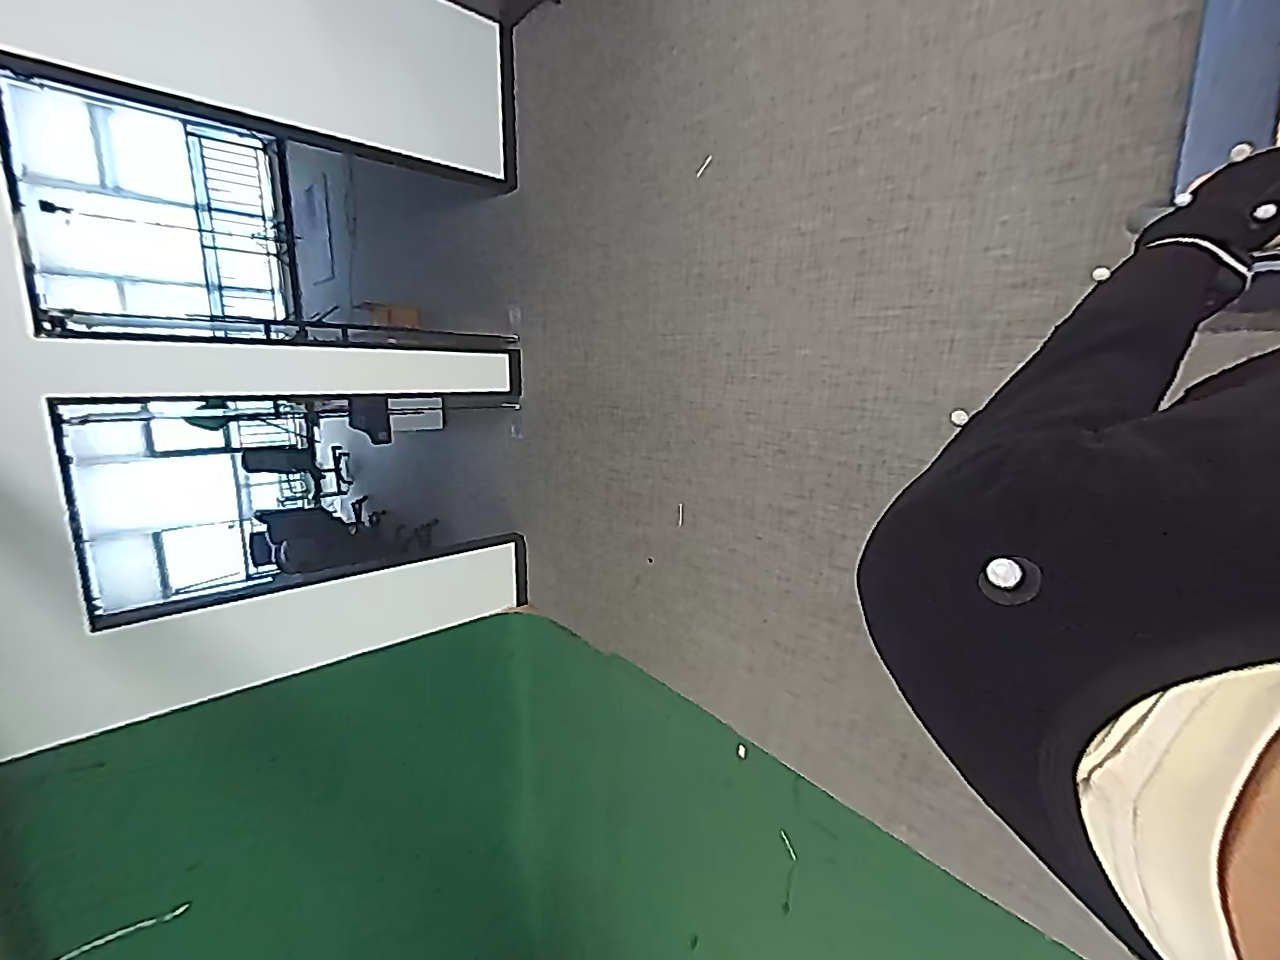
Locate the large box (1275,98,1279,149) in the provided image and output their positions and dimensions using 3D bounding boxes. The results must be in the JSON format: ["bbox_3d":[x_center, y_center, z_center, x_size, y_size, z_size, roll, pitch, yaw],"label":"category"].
[{"bbox_3d":[1.101,-0.658,0.704,0.320,0.320,0.408,11,105,49],"label":"large box"}]
